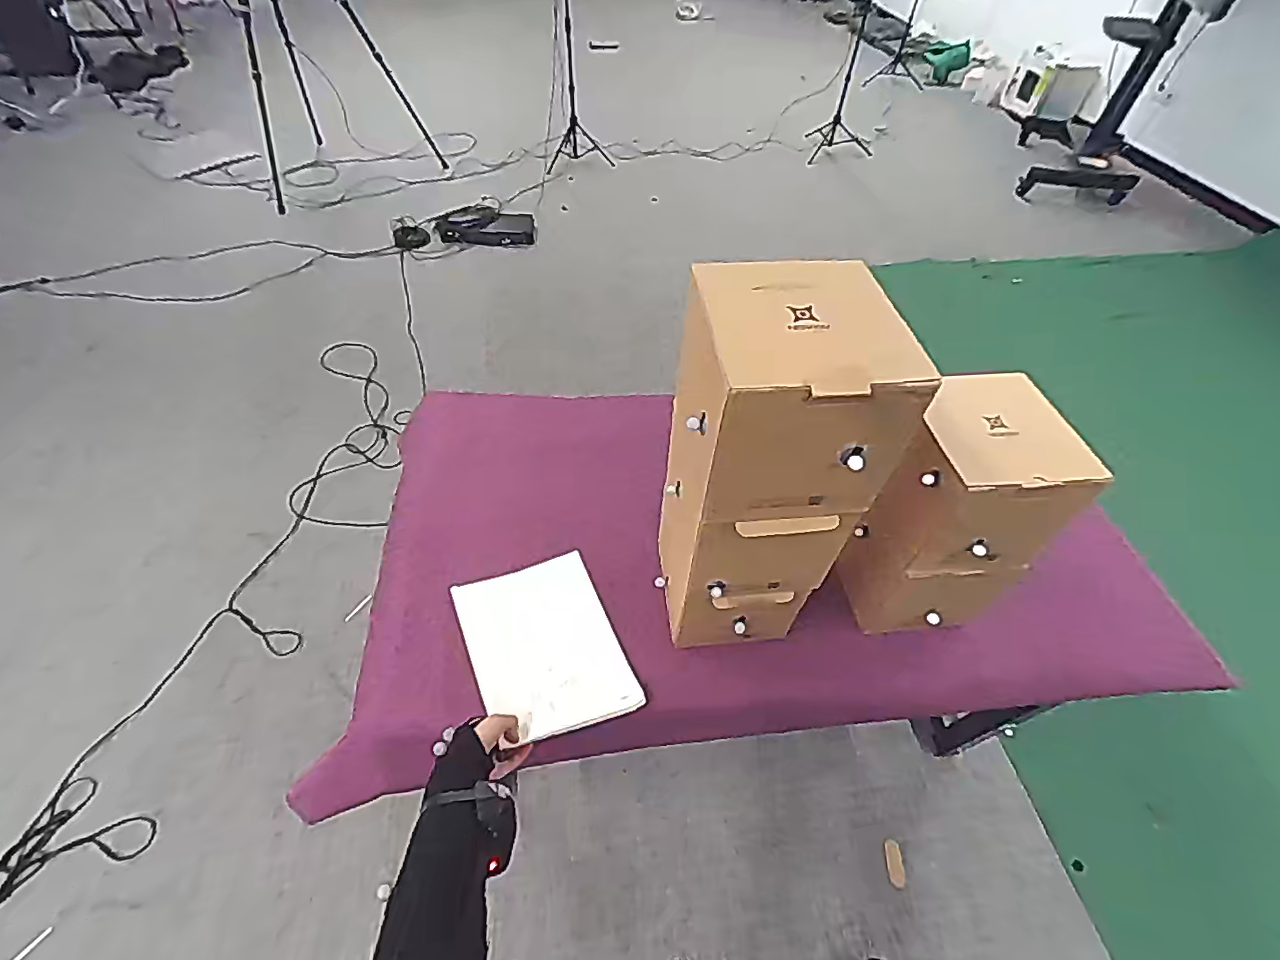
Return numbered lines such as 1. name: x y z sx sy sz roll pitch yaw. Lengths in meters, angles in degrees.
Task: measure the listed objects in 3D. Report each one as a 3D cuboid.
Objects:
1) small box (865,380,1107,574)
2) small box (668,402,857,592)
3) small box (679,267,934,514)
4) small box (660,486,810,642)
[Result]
1. small box: 0.398 -0.004 0.672 0.168 0.176 0.179 -3 50 -5
2. small box: 0.128 0.021 0.642 0.168 0.176 0.179 -3 50 -5
3. small box: 0.133 -0.078 0.513 0.168 0.176 0.179 -3 50 -5
4. small box: 0.122 0.121 0.773 0.168 0.176 0.179 -3 52 -5
